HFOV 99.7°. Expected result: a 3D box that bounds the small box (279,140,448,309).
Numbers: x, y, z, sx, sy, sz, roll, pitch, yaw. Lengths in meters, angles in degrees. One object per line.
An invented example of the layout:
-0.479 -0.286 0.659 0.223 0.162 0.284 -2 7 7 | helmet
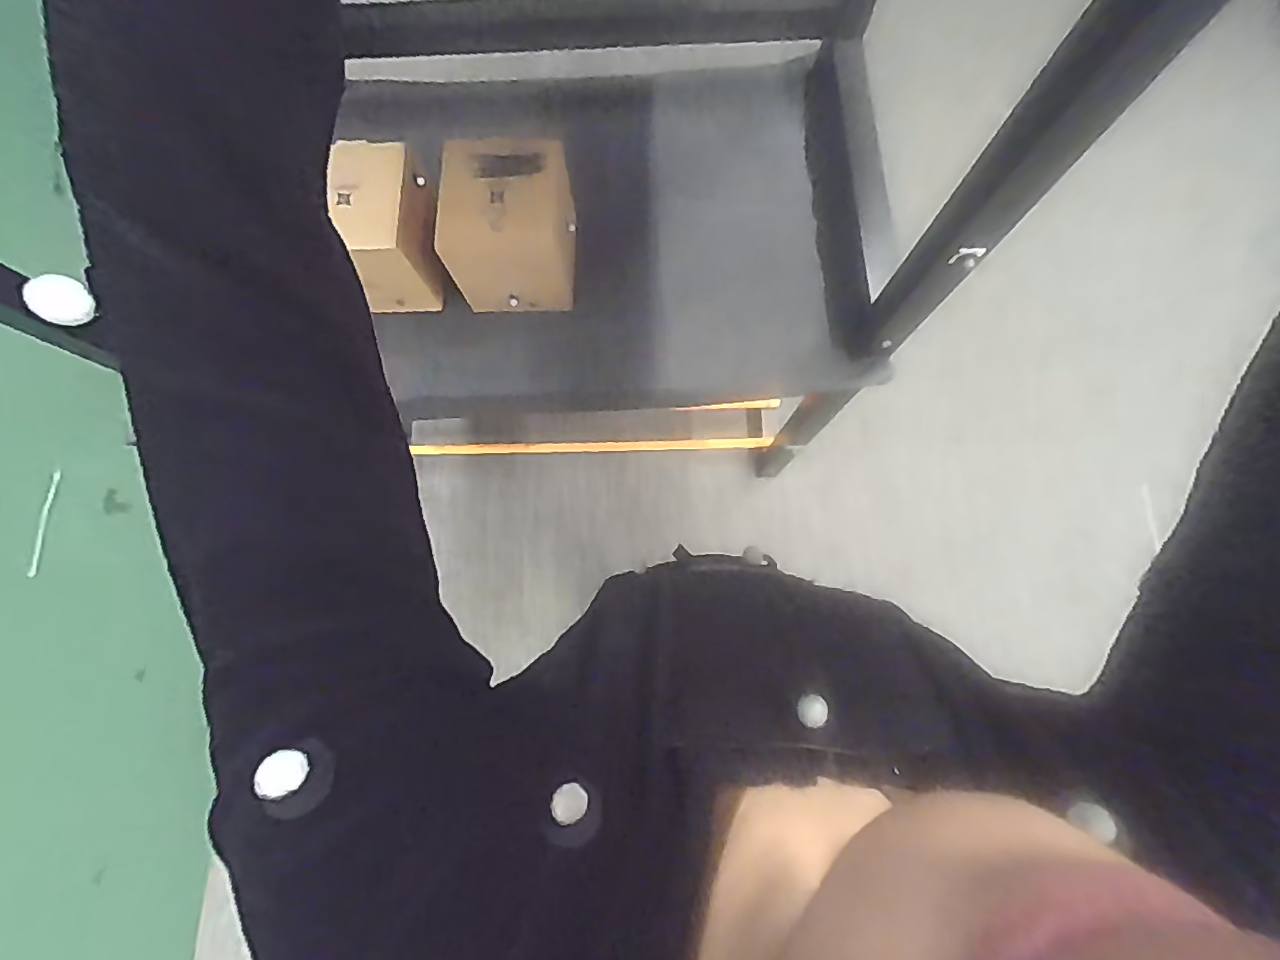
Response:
-0.407 -0.378 0.826 0.168 0.176 0.179 -1 76 1 | small box
